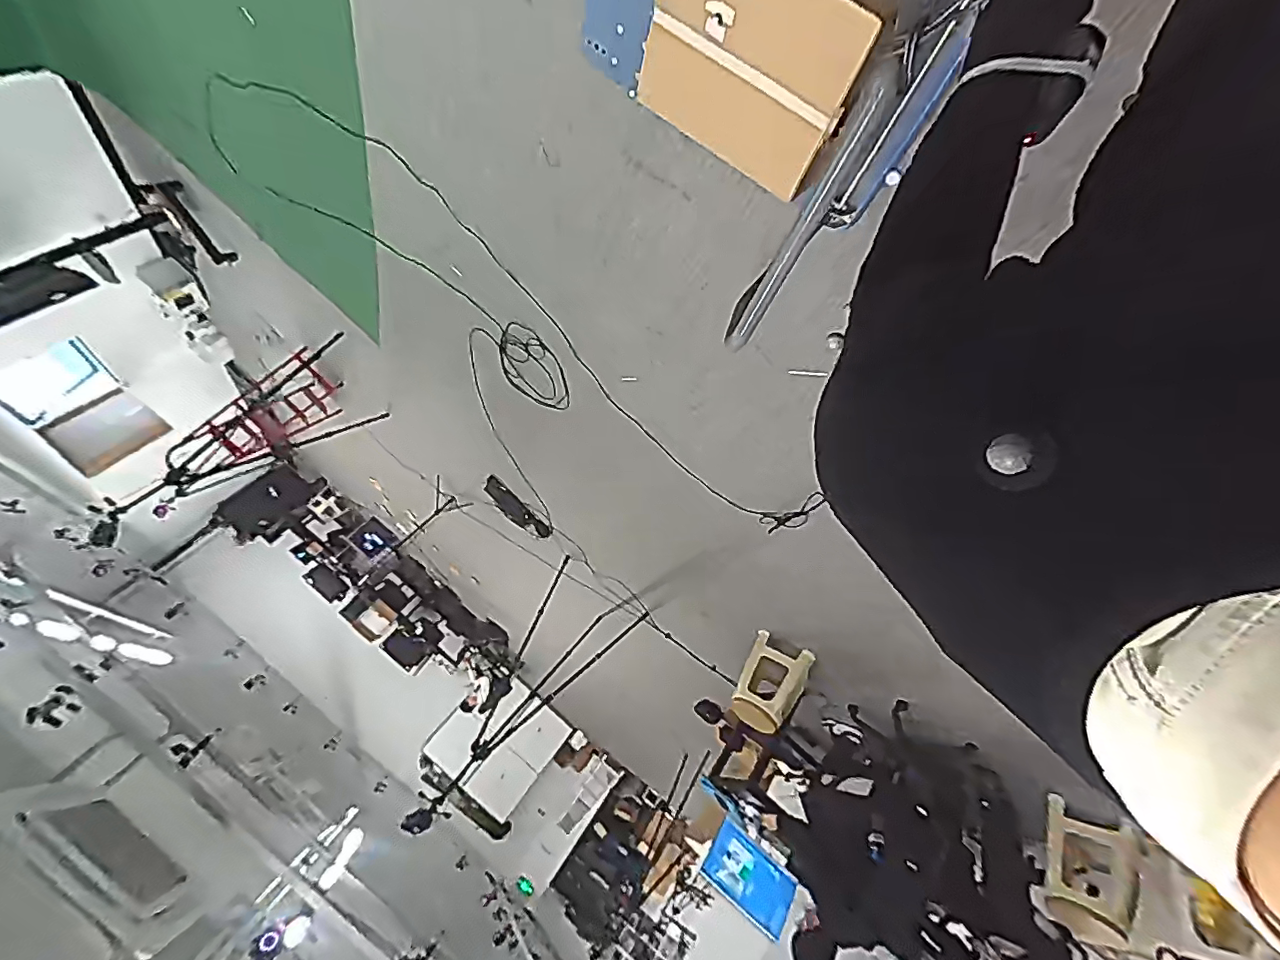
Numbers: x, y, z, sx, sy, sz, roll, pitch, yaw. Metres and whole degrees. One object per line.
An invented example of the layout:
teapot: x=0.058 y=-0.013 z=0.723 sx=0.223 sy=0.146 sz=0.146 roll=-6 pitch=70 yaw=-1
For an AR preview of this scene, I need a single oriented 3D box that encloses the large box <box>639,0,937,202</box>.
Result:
large box: x=0.273 y=-0.838 z=1.055 sx=0.408 sy=0.320 sz=0.320 roll=39 pitch=148 yaw=7
